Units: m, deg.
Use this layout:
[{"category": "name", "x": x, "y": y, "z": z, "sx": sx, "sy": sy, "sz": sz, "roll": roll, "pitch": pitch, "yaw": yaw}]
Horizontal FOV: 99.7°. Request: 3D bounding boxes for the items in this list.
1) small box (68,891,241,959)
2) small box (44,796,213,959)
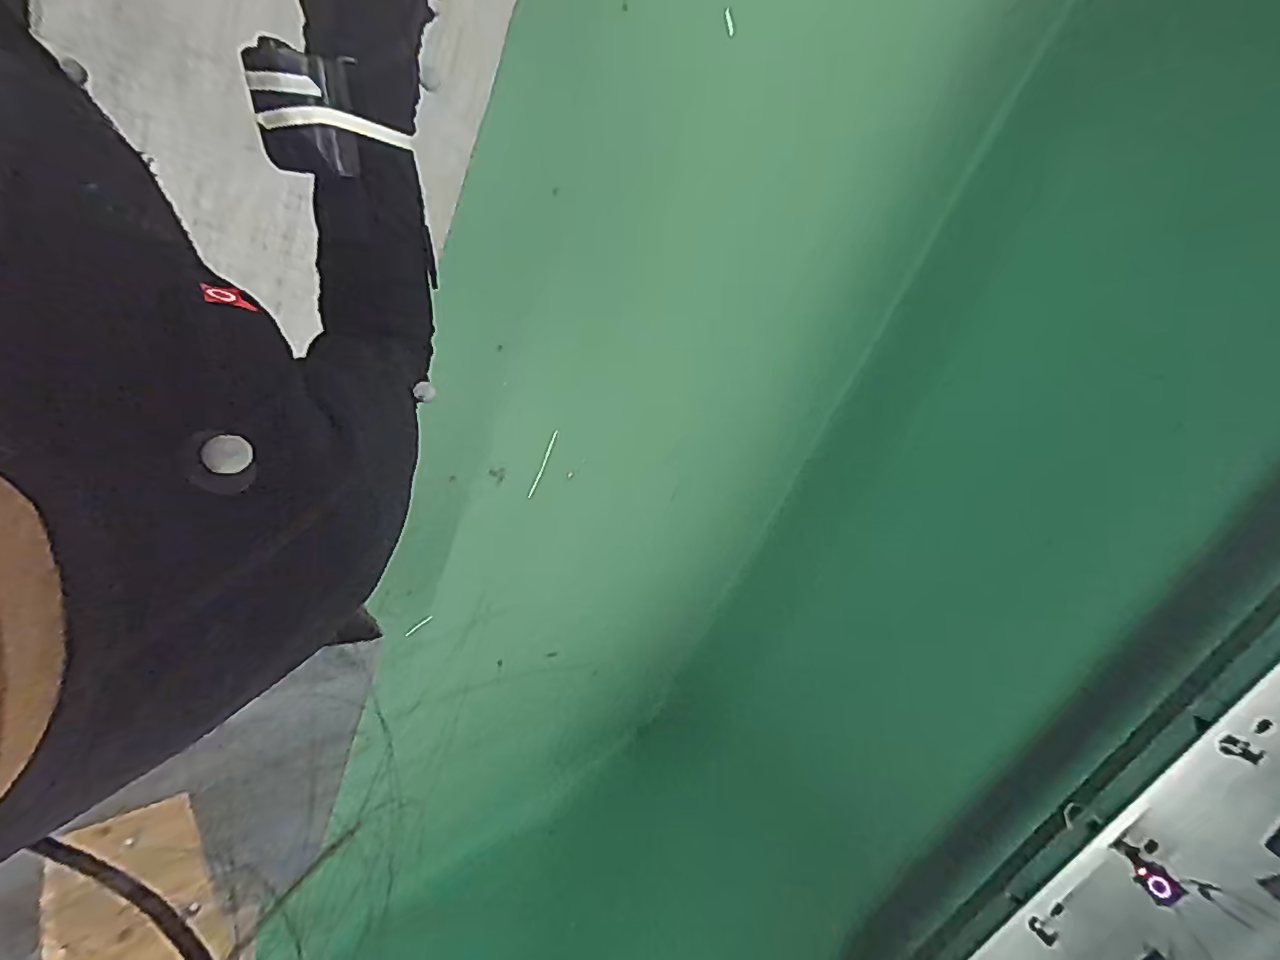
[{"category": "small box", "x": -0.695, "y": 0.735, "z": 0.764, "sx": 0.168, "sy": 0.176, "sz": 0.179, "roll": 3, "pitch": 119, "yaw": -52}, {"category": "small box", "x": -0.805, "y": 0.648, "z": 0.849, "sx": 0.168, "sy": 0.176, "sz": 0.179, "roll": 0, "pitch": 121, "yaw": -52}]
